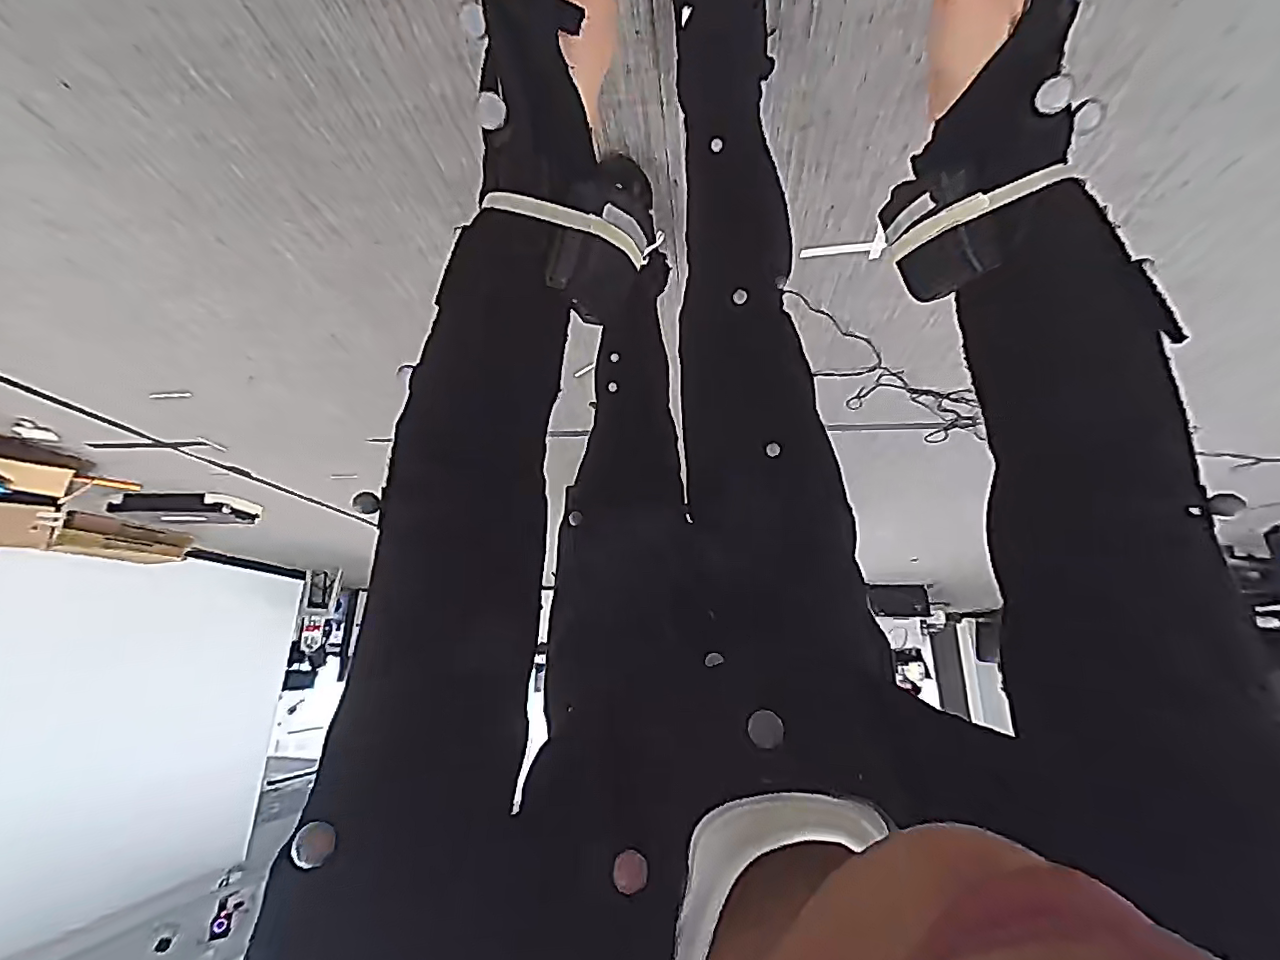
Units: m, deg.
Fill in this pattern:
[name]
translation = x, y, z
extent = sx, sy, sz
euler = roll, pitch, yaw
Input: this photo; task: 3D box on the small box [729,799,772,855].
[small box]
translation = 0.474, 1.495, 2.339
extent = 0.168, 0.176, 0.179
euler = 0, 162, 6
